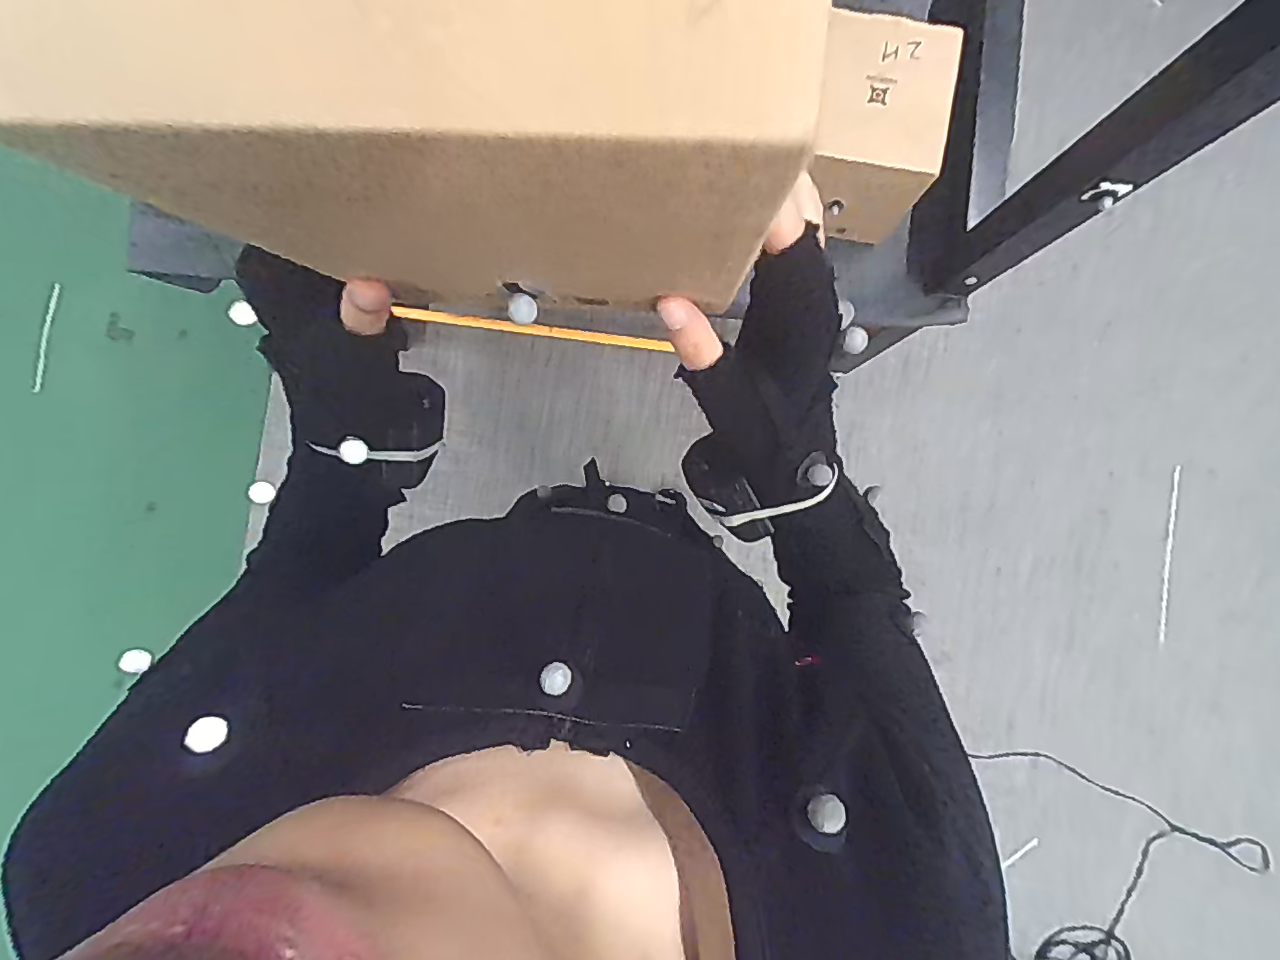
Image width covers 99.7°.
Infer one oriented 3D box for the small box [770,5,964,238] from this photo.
[{"bbox_3d":[0.273,-0.439,0.692,0.168,0.176,0.179,11,88,1],"label":"small box"}]
